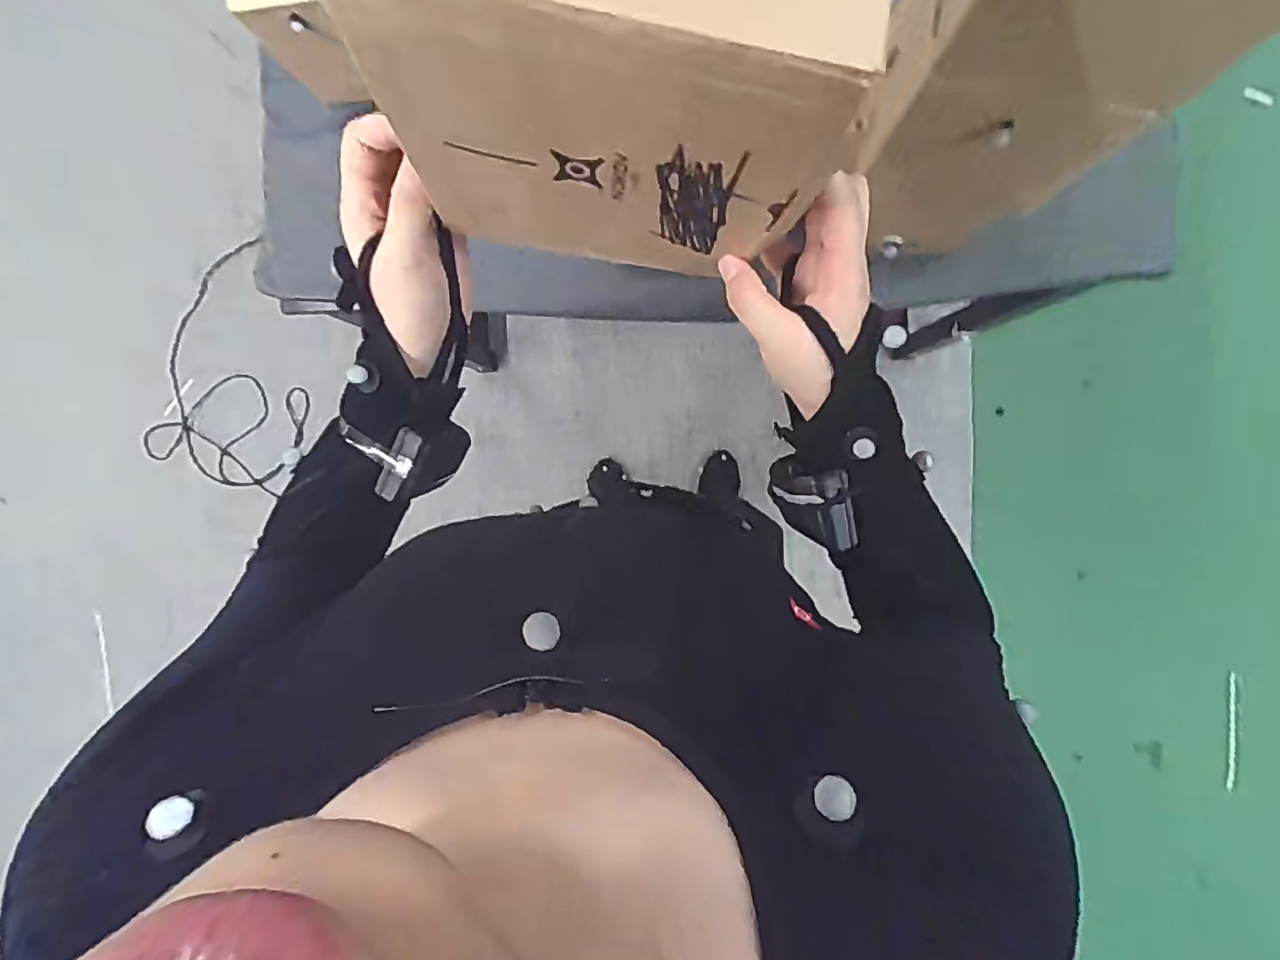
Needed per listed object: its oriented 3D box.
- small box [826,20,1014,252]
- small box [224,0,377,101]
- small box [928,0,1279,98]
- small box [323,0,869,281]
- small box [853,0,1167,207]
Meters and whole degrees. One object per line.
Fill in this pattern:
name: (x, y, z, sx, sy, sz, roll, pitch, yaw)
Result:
small box: (0.321, -0.385, 0.629, 0.168, 0.176, 0.179, 0, 93, 5)
small box: (-0.377, -0.613, 0.662, 0.168, 0.176, 0.179, -5, 94, 4)
small box: (0.301, -0.357, 0.304, 0.179, 0.176, 0.168, 12, 93, 5)
small box: (-0.007, -0.214, 0.243, 0.179, 0.168, 0.176, 9, 88, -5)
small box: (0.310, -0.362, 0.468, 0.179, 0.176, 0.168, 11, 93, 5)
